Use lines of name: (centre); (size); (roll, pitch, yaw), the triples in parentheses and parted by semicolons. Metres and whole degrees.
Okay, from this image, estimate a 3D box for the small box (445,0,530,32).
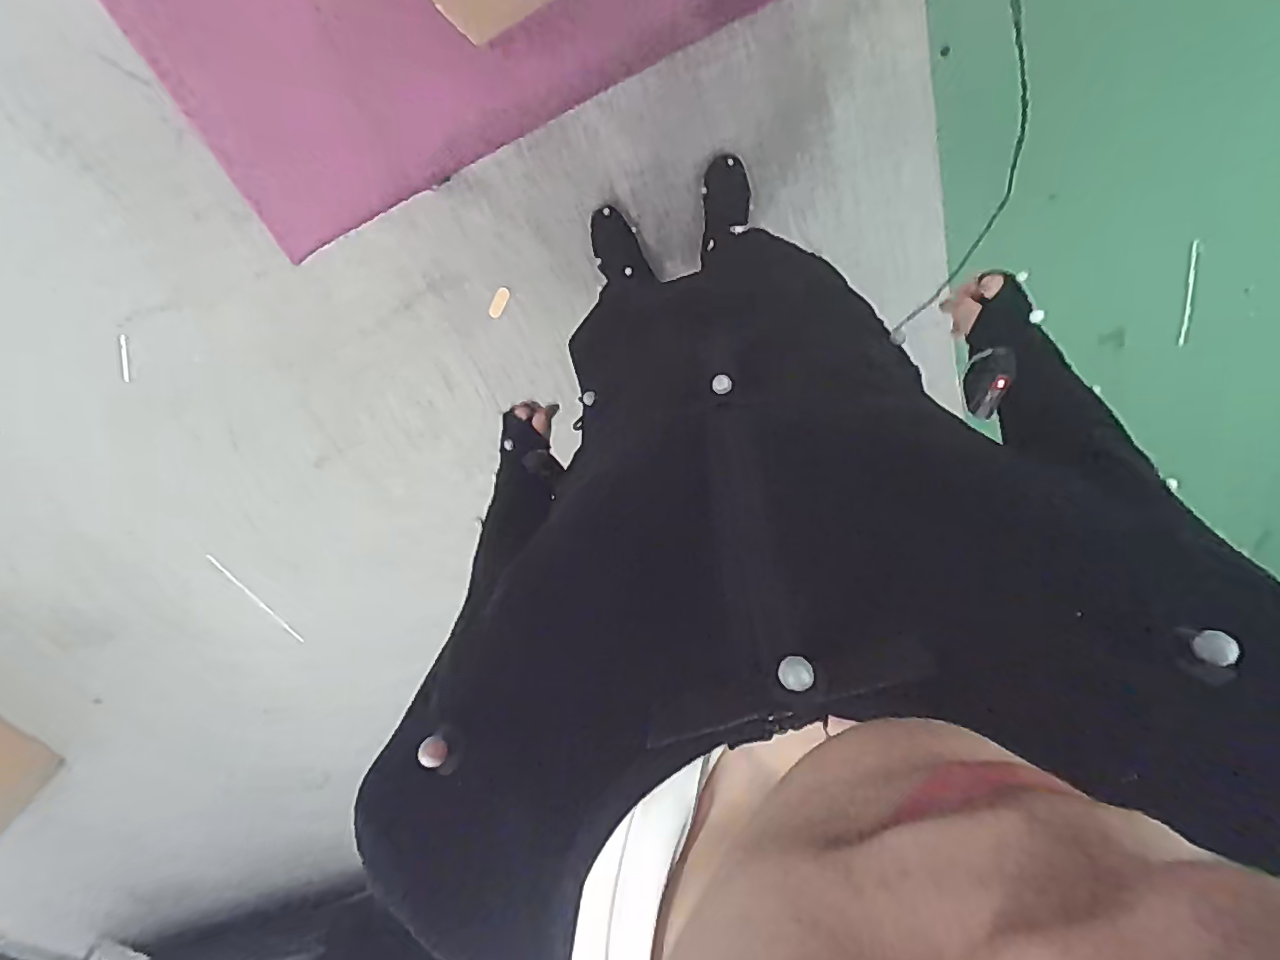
small box: (-0.145, -0.562, 0.498); (0.179, 0.176, 0.168); (-24, 119, 10)
